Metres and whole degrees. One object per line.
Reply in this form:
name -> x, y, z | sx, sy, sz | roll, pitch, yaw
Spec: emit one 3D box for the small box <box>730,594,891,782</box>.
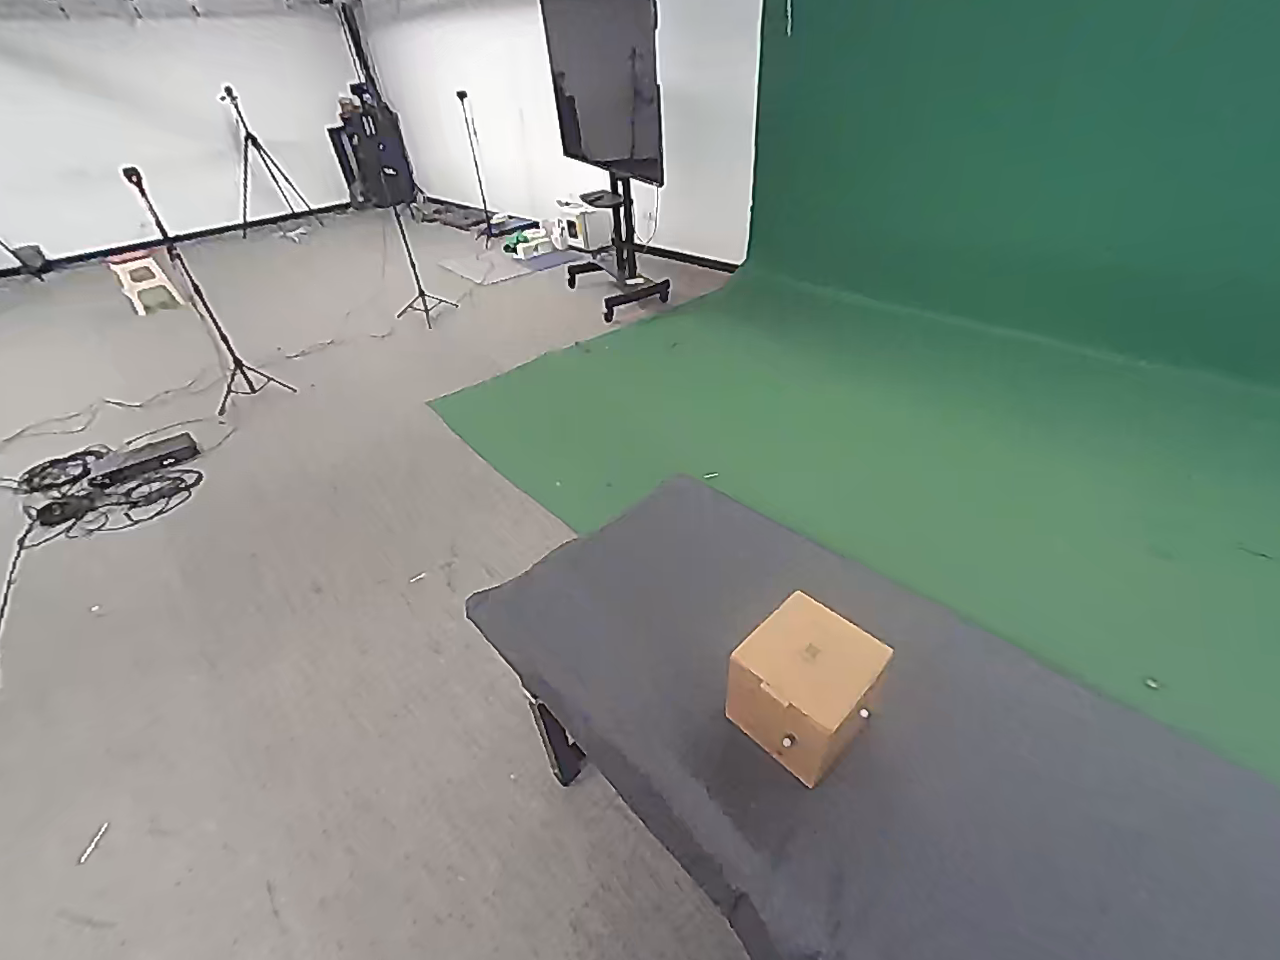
small box -> 0.254, 0.320, 0.837 | 0.179, 0.176, 0.168 | -31, 46, -32
